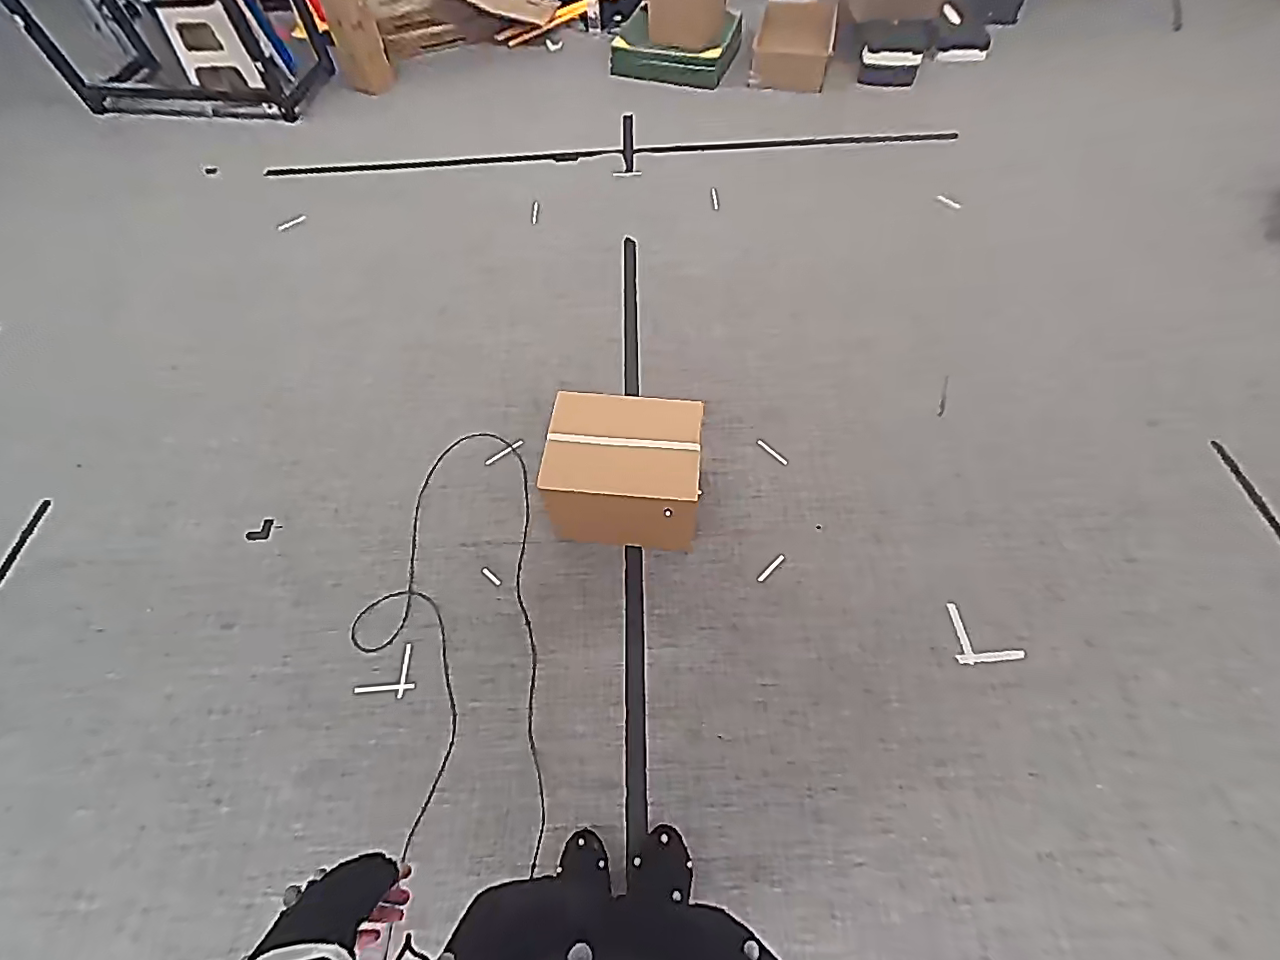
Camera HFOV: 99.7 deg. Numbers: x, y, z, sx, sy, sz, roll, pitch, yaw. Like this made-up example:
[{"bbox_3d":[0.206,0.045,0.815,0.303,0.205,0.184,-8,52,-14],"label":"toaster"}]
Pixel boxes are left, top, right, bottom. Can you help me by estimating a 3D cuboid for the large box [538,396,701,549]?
[{"bbox_3d":[-0.041,-0.012,1.529,0.408,0.320,0.320,5,59,3],"label":"large box"}]
